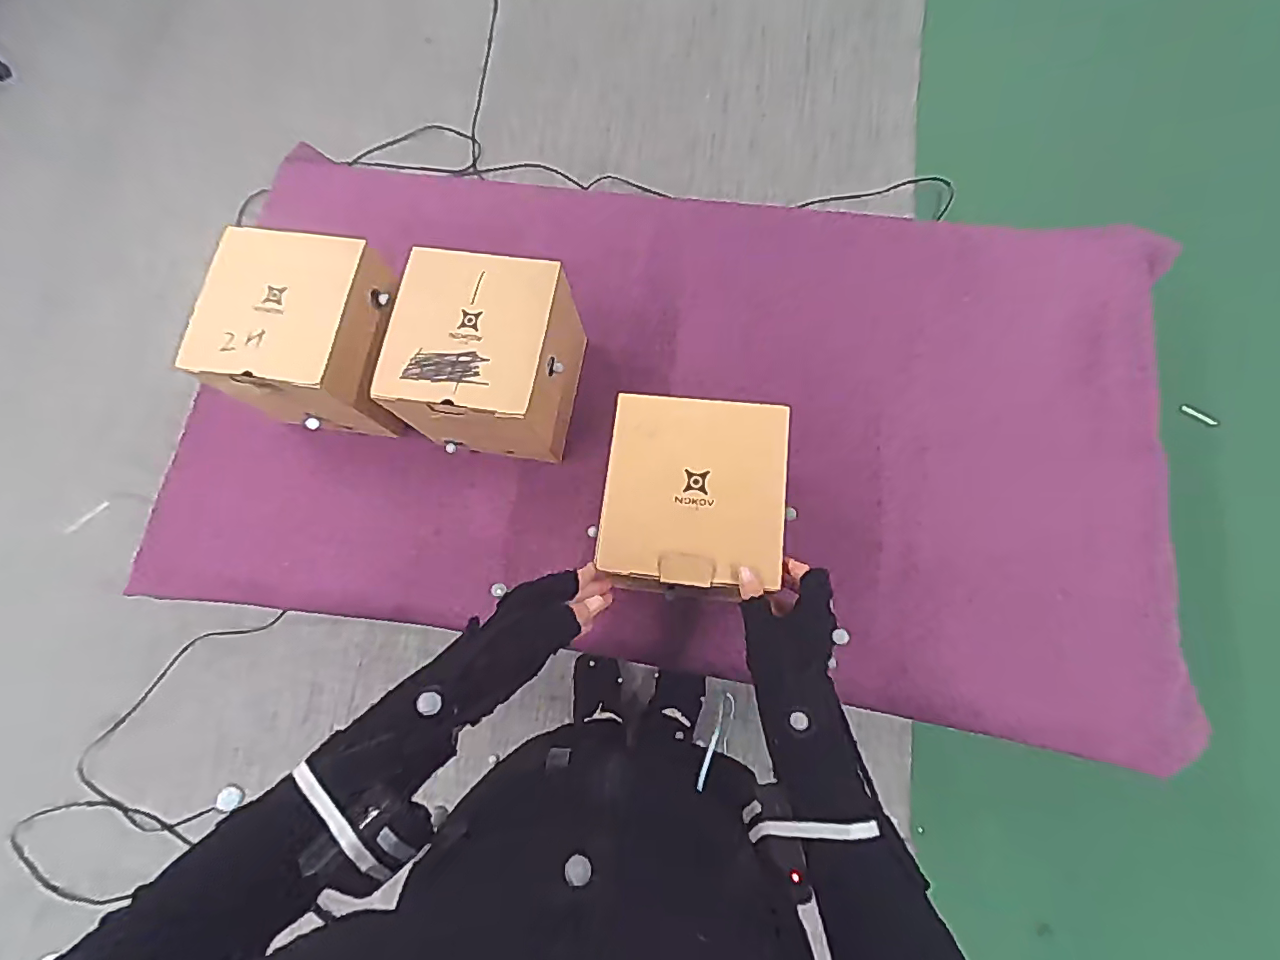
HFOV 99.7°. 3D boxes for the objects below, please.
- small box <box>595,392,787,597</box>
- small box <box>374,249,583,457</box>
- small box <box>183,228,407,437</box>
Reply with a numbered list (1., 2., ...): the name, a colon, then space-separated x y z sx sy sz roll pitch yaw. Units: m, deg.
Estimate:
1. small box: 0.054 0.025 0.578 0.168 0.176 0.179 6 76 6
2. small box: -0.171 -0.136 0.633 0.168 0.176 0.179 8 77 6
3. small box: -0.381 -0.169 0.655 0.168 0.176 0.179 8 77 6
